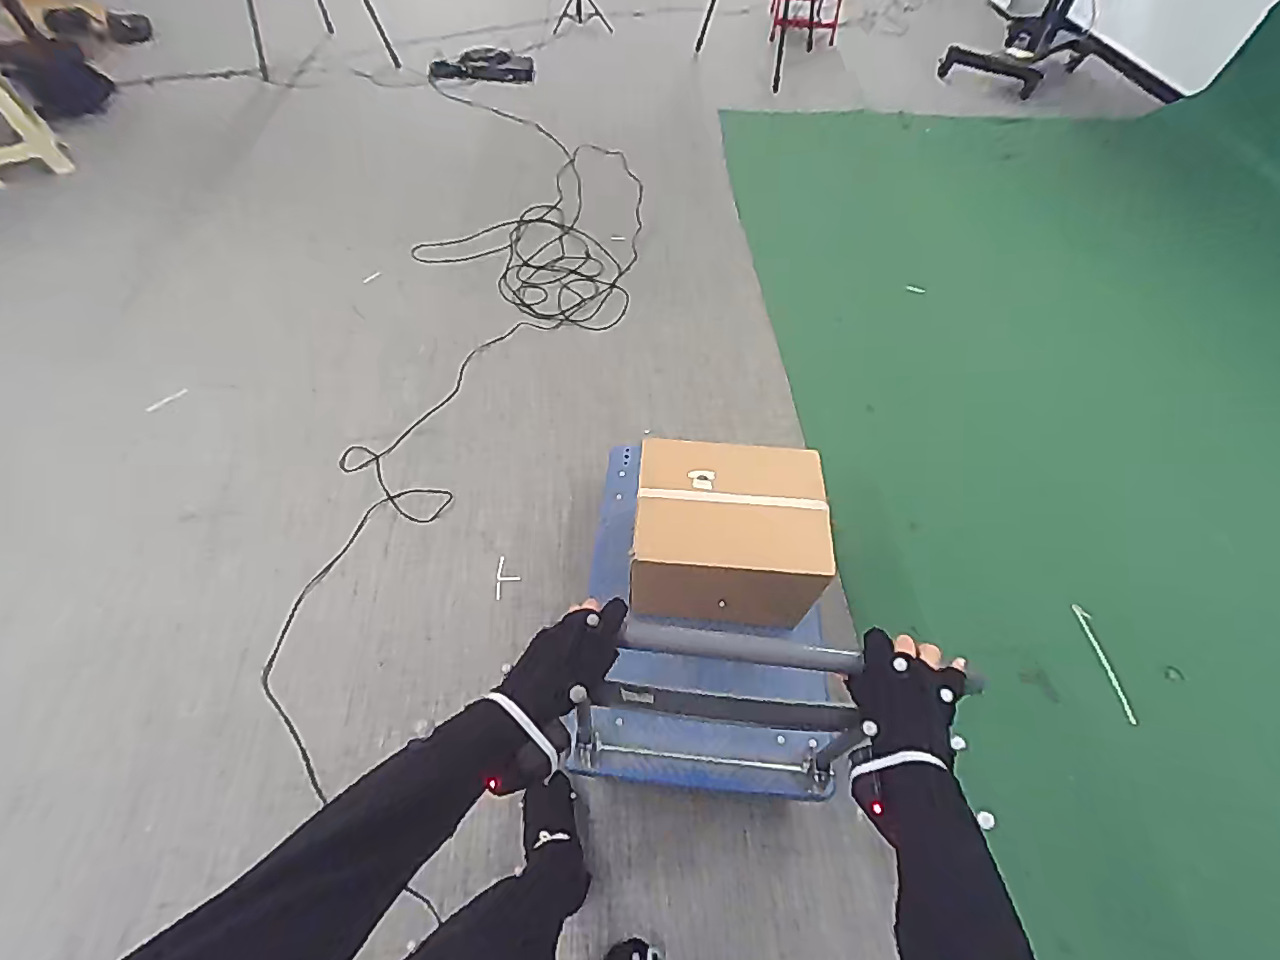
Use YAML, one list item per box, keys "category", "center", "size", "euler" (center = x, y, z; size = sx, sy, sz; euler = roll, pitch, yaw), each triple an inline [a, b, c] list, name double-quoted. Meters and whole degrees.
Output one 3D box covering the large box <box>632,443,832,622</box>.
- category: "large box"
  center: [0.193, 0.133, 1.285]
  size: [0.408, 0.320, 0.320]
  euler: [4, 56, 2]
